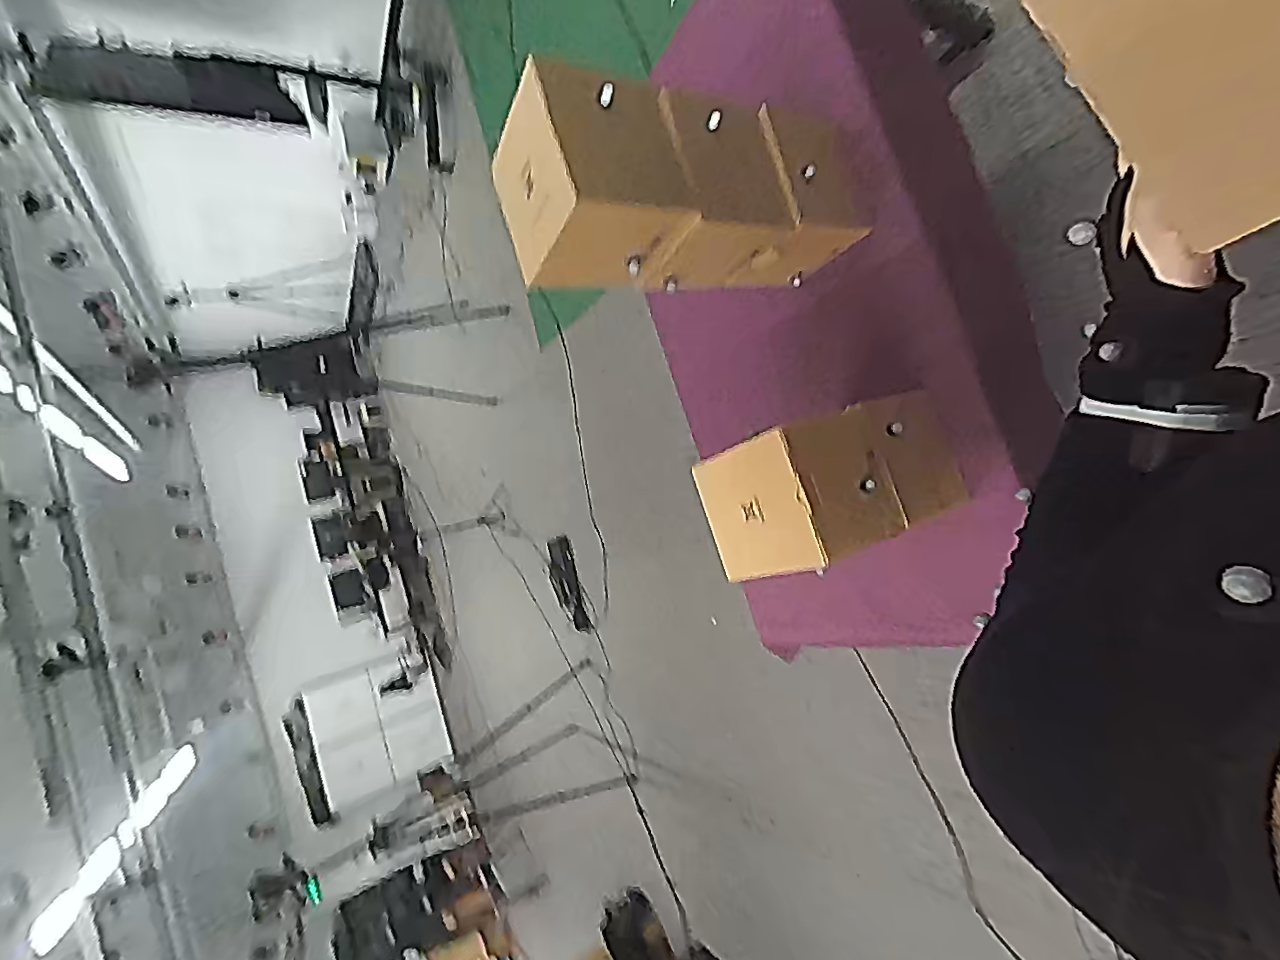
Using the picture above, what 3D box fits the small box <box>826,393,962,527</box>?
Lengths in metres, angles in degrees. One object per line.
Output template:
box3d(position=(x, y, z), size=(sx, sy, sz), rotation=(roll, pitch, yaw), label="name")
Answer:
box3d(position=(0.340, -0.022, 0.813), size=(0.168, 0.176, 0.179), rotation=(-28, 79, 57), label="small box")

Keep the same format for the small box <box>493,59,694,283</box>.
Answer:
box3d(position=(-0.061, -0.366, 0.678), size=(0.168, 0.176, 0.179), rotation=(-27, 80, 57), label="small box")

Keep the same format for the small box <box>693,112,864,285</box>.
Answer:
box3d(position=(0.216, -0.426, 0.843), size=(0.168, 0.176, 0.179), rotation=(-23, 82, 56), label="small box")

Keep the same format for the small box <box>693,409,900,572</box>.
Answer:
box3d(position=(0.206, 0.016, 0.728), size=(0.179, 0.176, 0.168), rotation=(-27, 79, 55), label="small box")

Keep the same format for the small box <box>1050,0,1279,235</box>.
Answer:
box3d(position=(0.305, -0.250, 0.232), size=(0.179, 0.176, 0.168), rotation=(51, 147, -8), label="small box")
